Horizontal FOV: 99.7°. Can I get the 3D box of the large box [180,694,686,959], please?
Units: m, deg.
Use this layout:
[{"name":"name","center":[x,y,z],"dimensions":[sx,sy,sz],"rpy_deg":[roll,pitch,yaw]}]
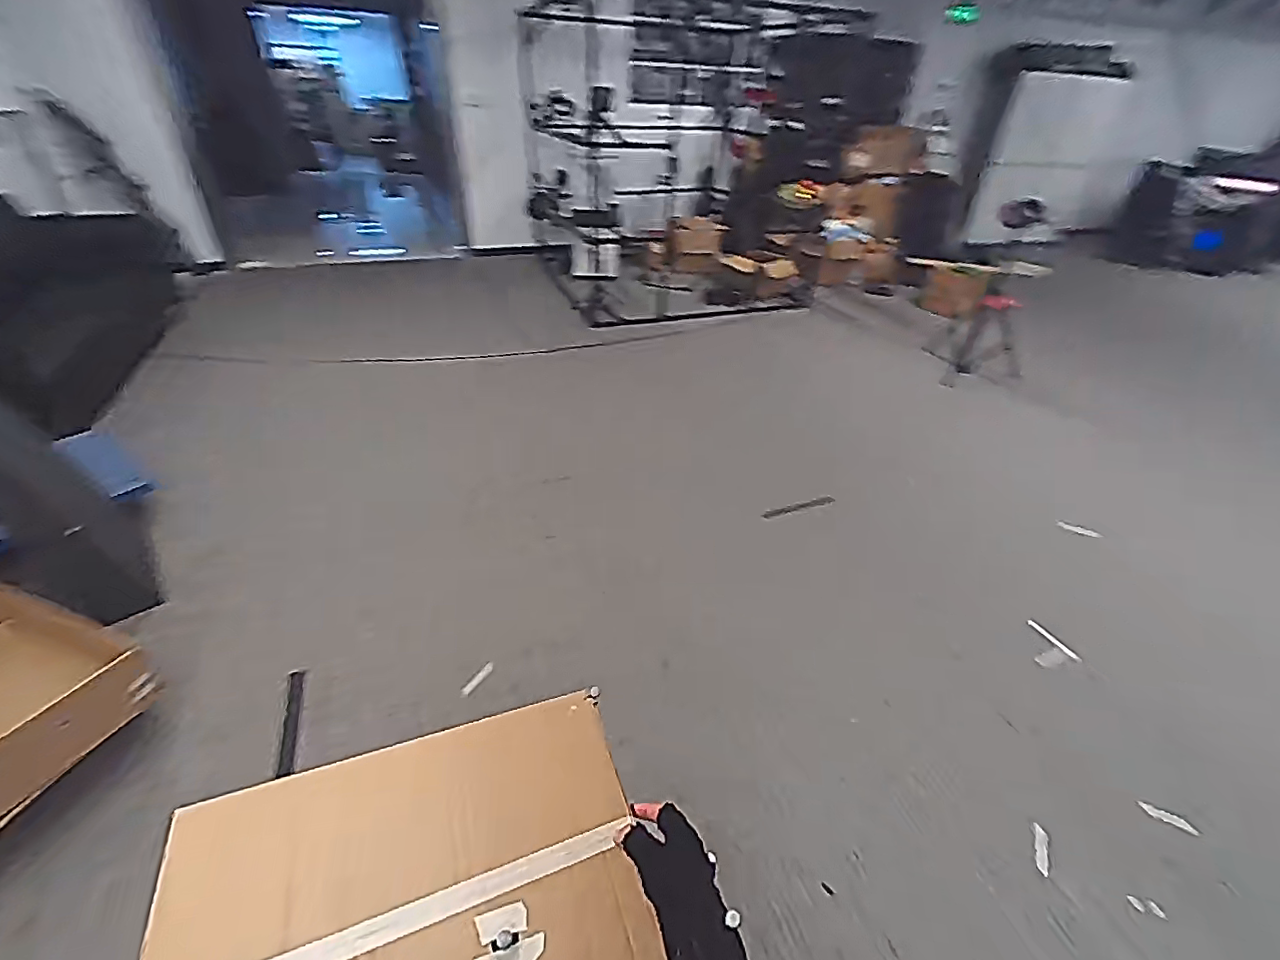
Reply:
[{"name":"large box","center":[-0.200,0.497,0.581],"dimensions":[0.408,0.320,0.320],"rpy_deg":[-8,43,-19]}]
